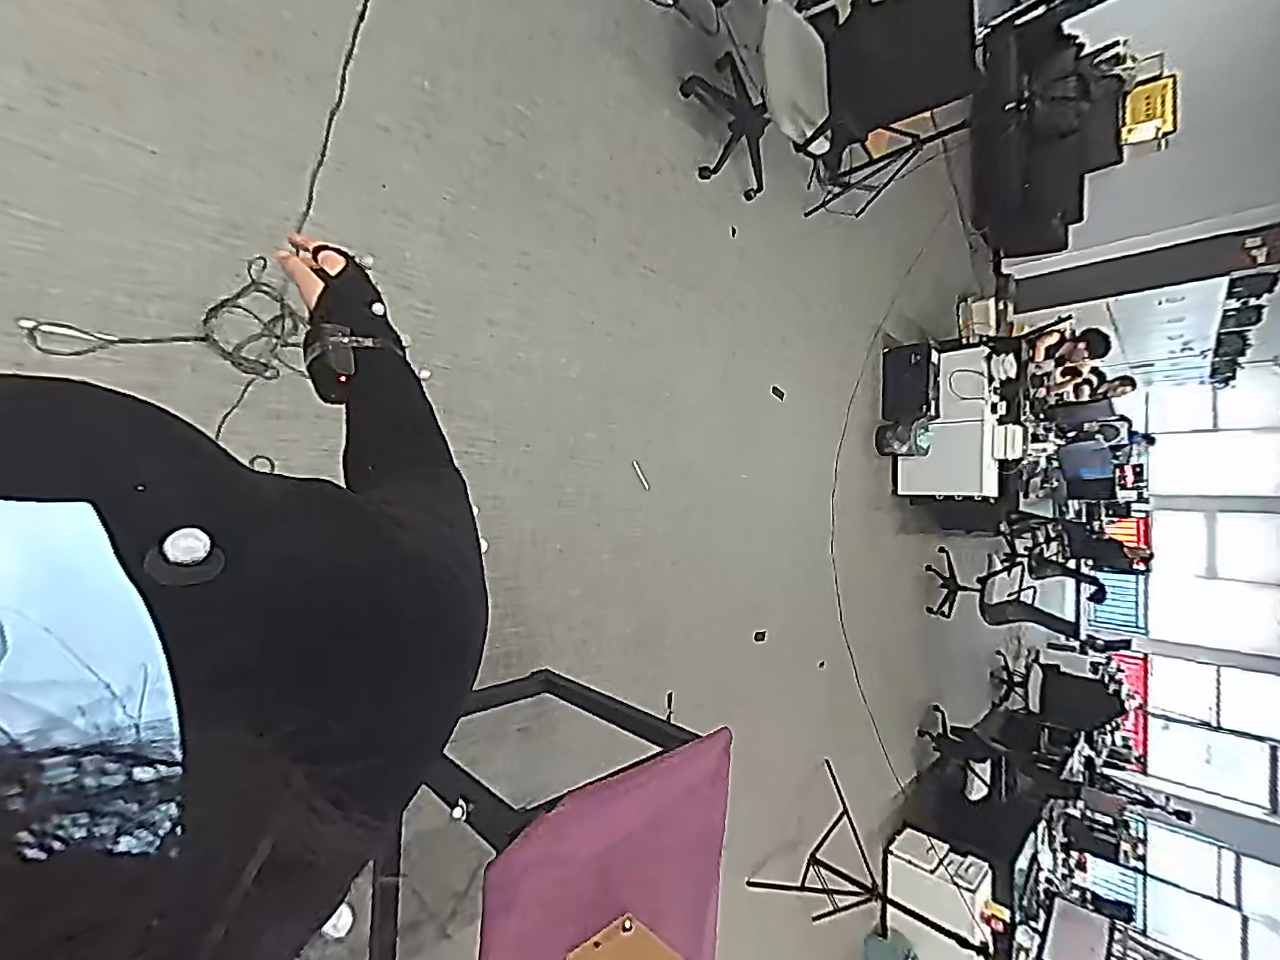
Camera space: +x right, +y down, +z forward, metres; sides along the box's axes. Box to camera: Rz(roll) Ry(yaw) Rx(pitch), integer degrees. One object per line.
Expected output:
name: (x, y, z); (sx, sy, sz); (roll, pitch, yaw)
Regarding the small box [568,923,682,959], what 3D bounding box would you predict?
small box: (-0.034, 0.983, 1.009); (0.168, 0.176, 0.179); (5, 87, -45)
